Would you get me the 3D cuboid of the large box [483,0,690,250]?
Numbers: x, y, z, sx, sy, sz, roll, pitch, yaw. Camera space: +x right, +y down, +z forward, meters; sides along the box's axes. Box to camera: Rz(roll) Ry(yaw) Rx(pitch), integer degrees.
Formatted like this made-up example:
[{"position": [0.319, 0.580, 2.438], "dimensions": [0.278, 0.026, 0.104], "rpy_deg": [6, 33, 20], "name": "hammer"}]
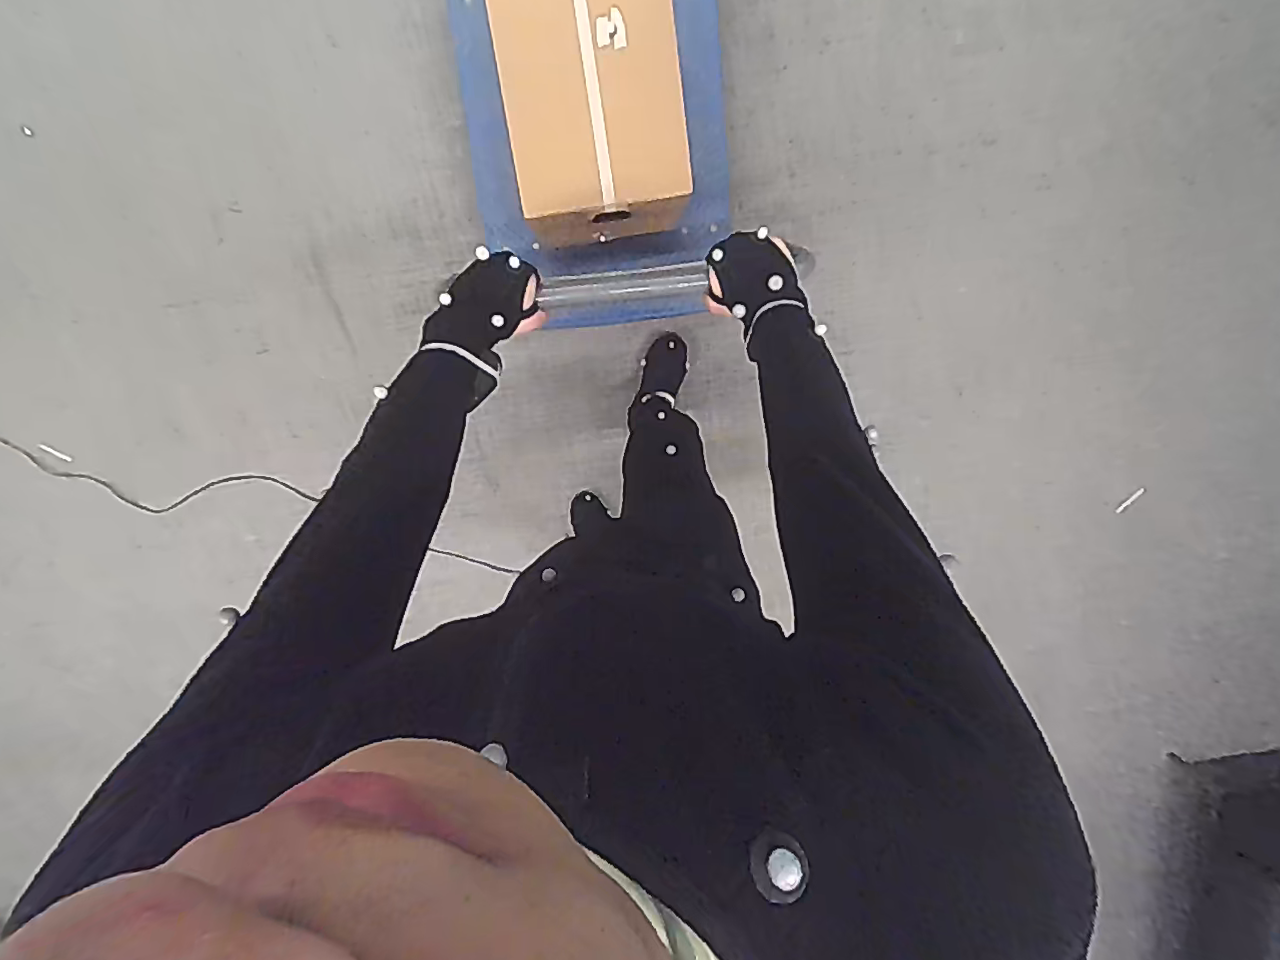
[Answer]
[{"position": [-0.092, -0.723, 1.090], "dimensions": [0.320, 0.320, 0.408], "rpy_deg": [-9, 104, 0], "name": "large box"}]
